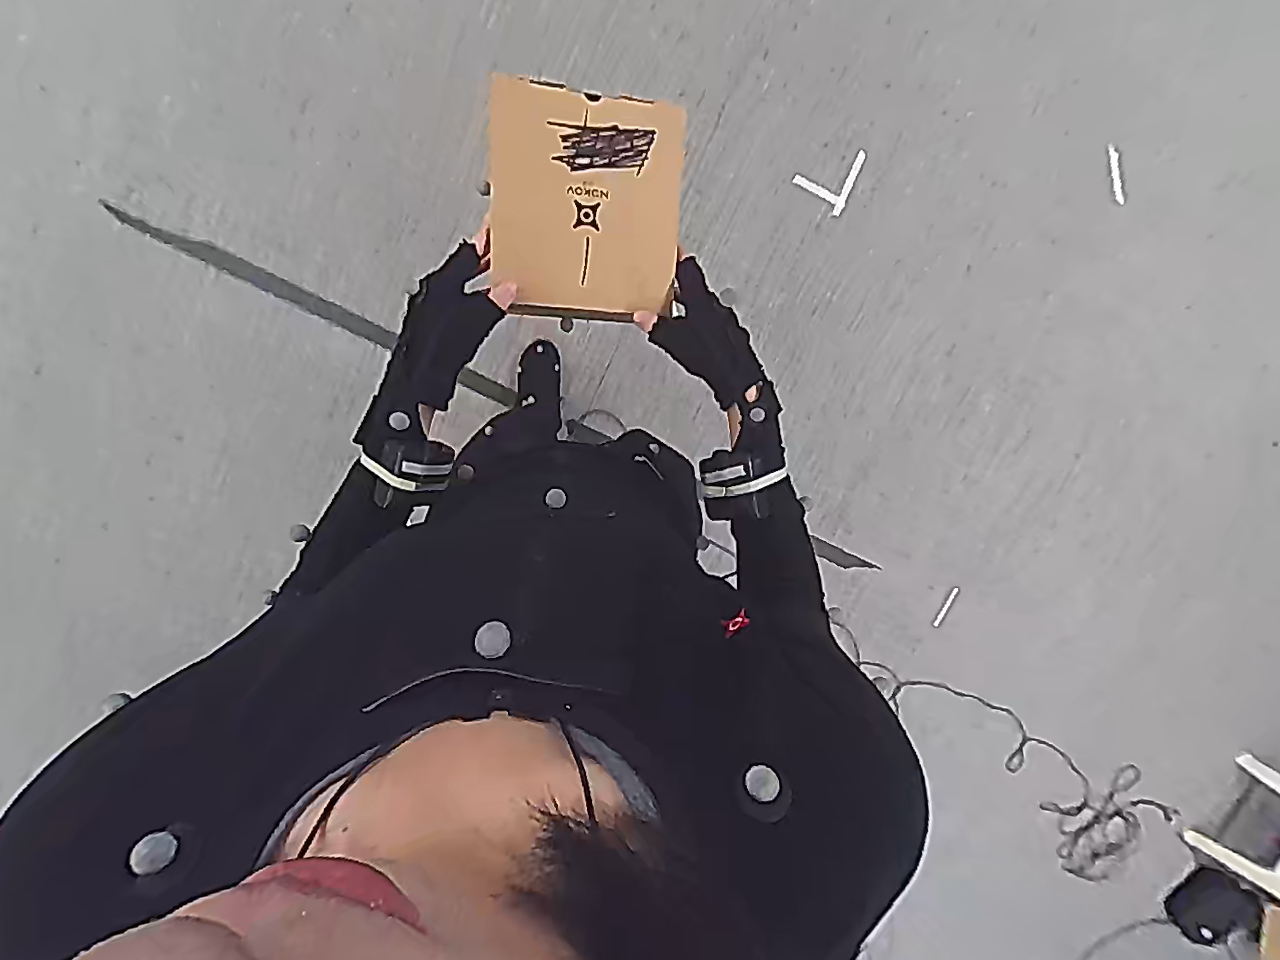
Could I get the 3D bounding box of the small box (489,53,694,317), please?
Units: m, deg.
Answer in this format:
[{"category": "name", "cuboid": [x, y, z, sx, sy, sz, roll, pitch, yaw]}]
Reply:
[{"category": "small box", "cuboid": [-0.057, -0.261, 0.528, 0.168, 0.176, 0.179, 2, 104, -12]}]
